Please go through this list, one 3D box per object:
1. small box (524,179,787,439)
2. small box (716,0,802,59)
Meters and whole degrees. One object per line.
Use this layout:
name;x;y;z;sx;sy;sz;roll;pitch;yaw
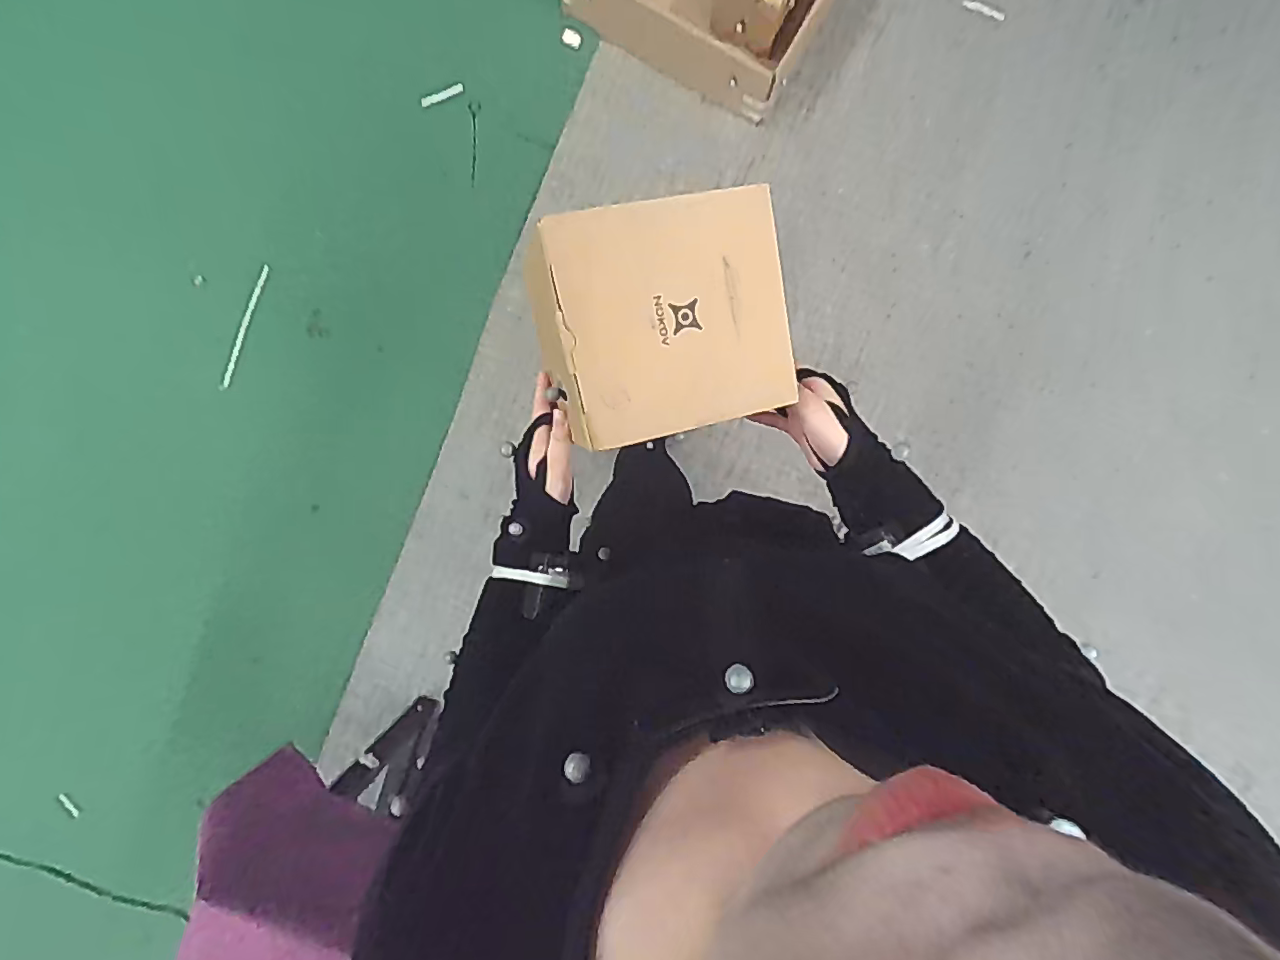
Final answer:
small box;0.001;-0.138;0.474;0.179;0.176;0.168;-14;103;-12
small box;0.286;-1.142;1.258;0.168;0.176;0.179;27;96;3
